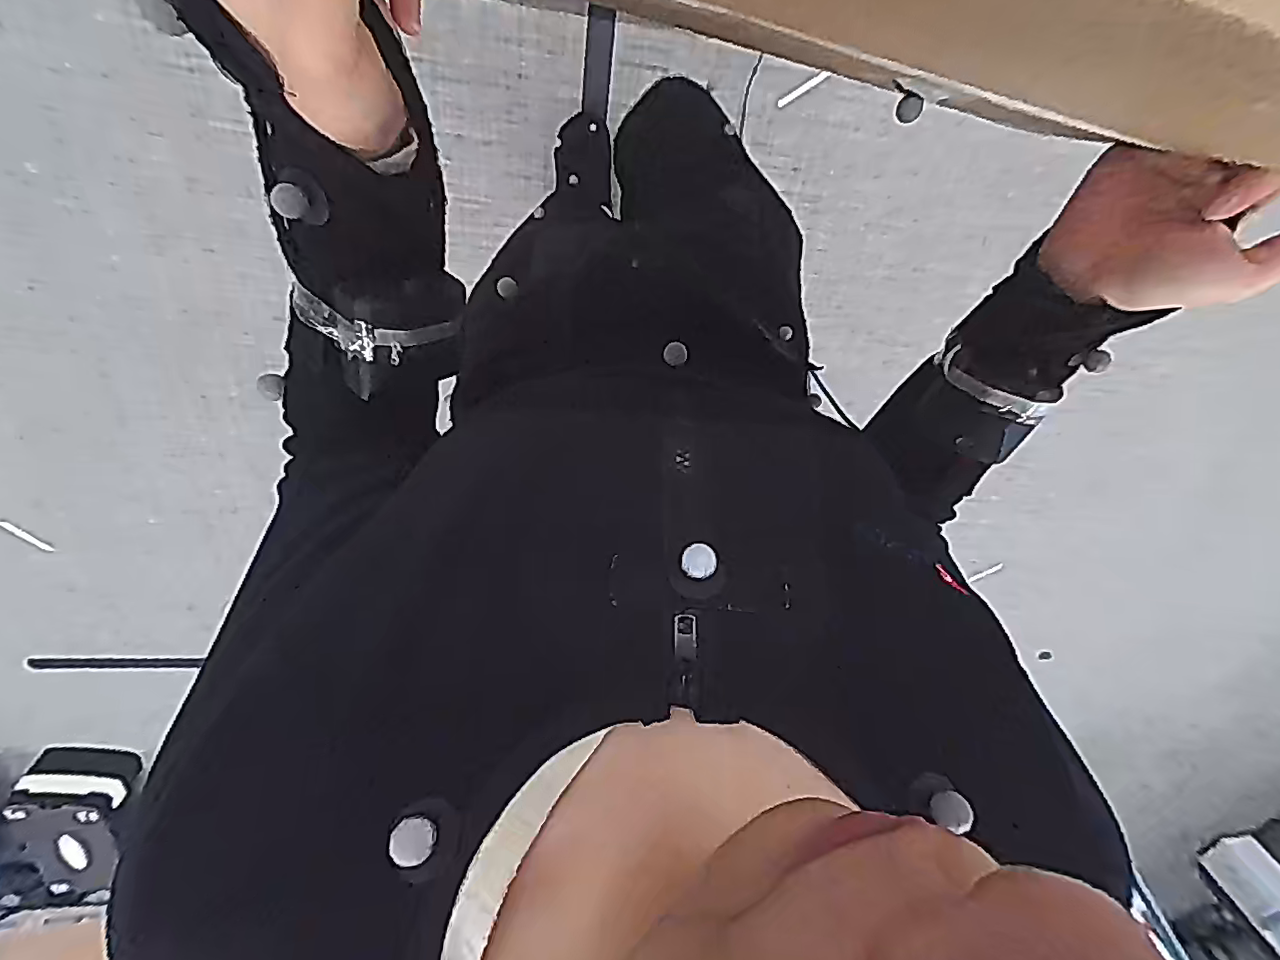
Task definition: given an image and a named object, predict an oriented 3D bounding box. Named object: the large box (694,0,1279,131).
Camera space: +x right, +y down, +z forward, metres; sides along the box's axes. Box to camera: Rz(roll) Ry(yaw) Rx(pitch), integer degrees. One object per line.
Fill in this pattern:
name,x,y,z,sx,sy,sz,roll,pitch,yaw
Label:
large box,0.111,-0.305,0.116,0.408,0.320,0.320,4,128,-13
